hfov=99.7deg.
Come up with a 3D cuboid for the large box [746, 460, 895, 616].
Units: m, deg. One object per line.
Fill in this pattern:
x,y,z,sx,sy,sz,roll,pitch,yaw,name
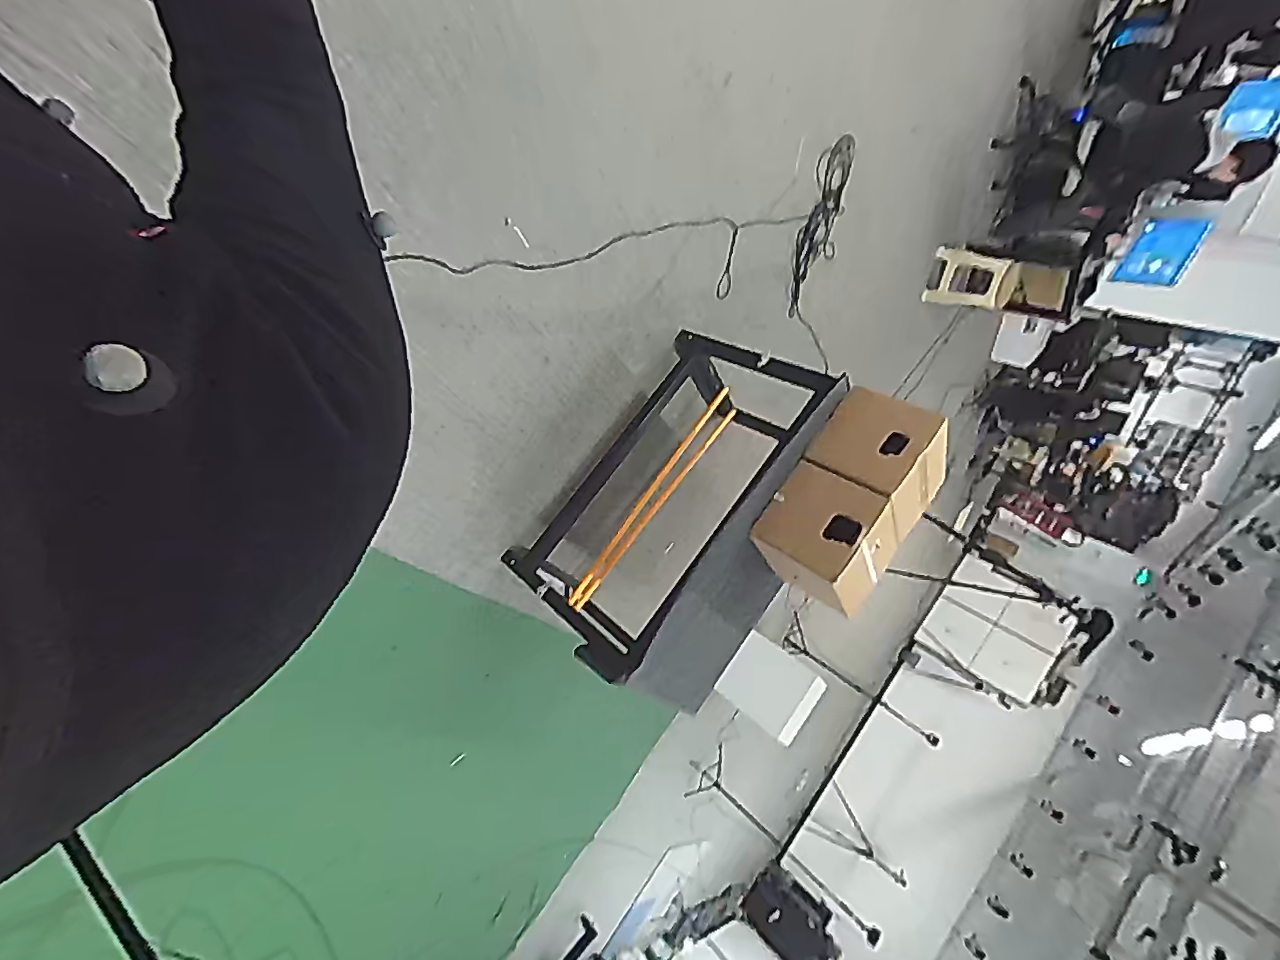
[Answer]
0.608,0.196,1.798,0.320,0.320,0.408,-54,141,-8,large box
